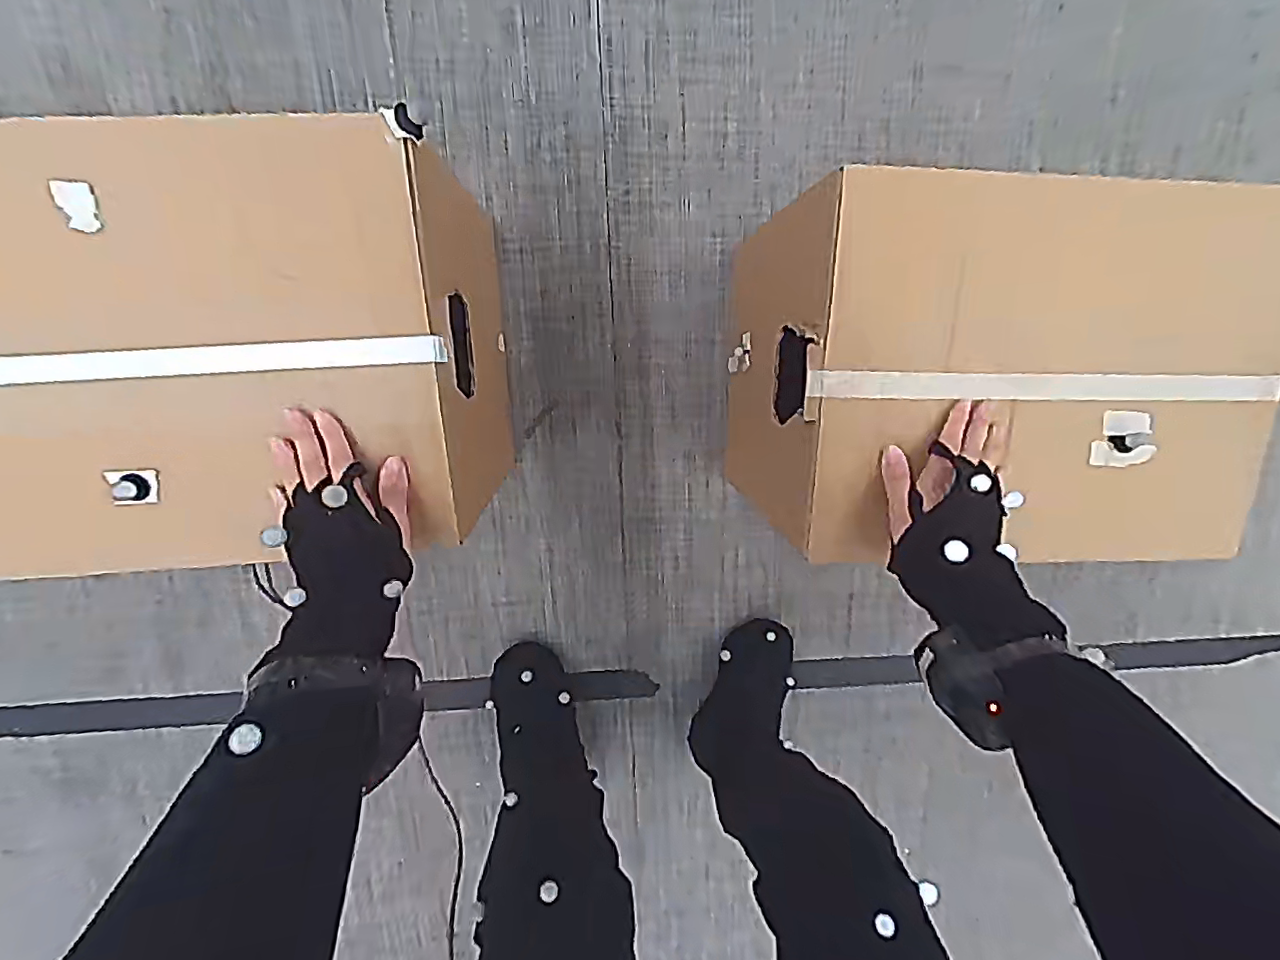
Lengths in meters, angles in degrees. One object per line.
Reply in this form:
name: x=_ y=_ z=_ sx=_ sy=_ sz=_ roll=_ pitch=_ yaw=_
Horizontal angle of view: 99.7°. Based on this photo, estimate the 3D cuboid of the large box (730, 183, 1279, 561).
large box: x=0.334 y=-0.113 z=0.607 sx=0.408 sy=0.320 sz=0.320 roll=0 pitch=104 yaw=-5
